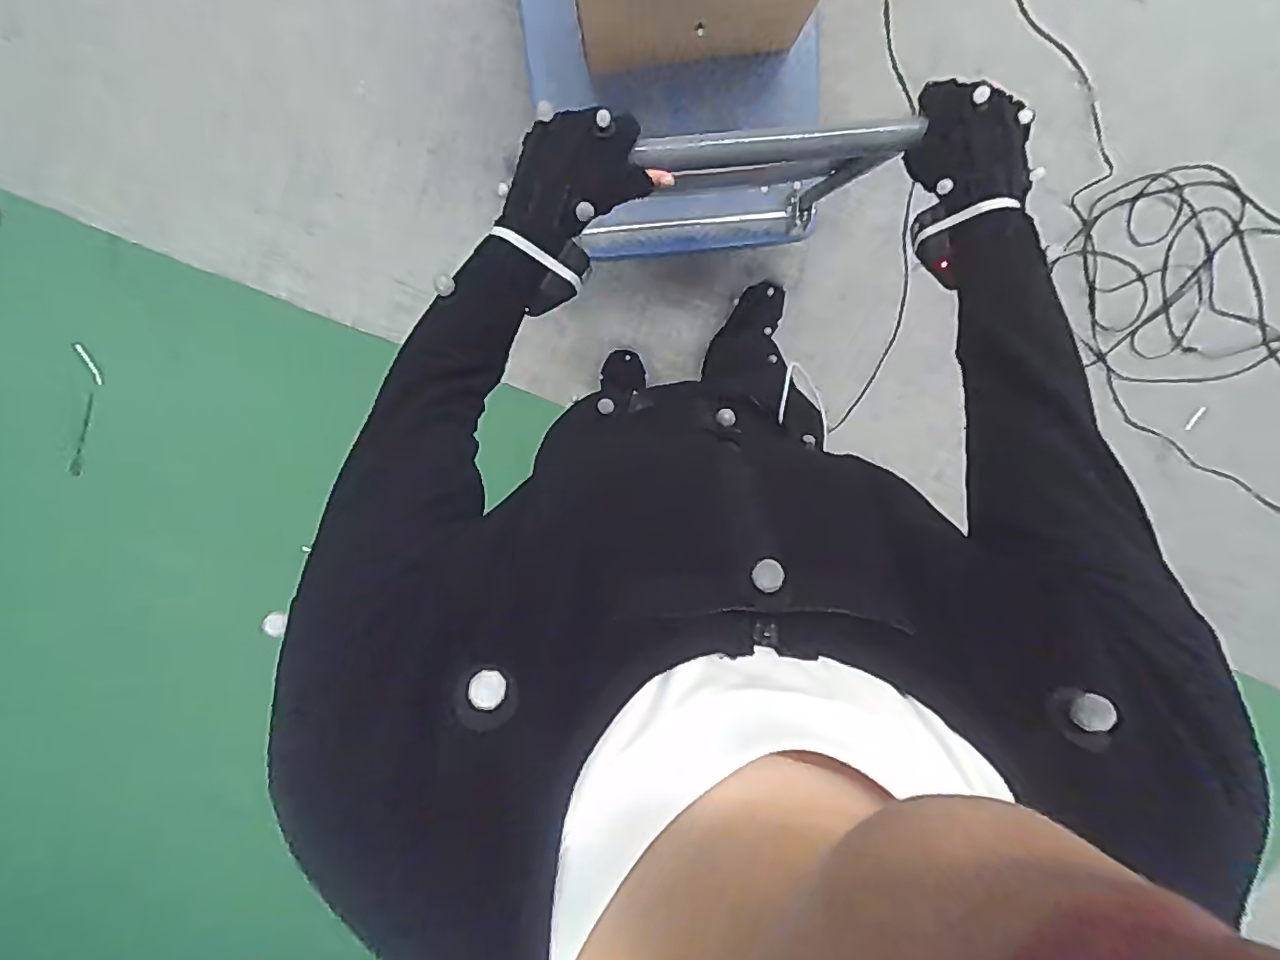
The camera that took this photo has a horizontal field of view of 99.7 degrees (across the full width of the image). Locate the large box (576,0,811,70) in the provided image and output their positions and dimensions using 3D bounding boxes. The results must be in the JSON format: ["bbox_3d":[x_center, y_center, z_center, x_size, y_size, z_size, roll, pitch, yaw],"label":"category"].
[{"bbox_3d":[0.079,-0.934,0.882,0.408,0.320,0.320,-8,106,1],"label":"large box"}]
